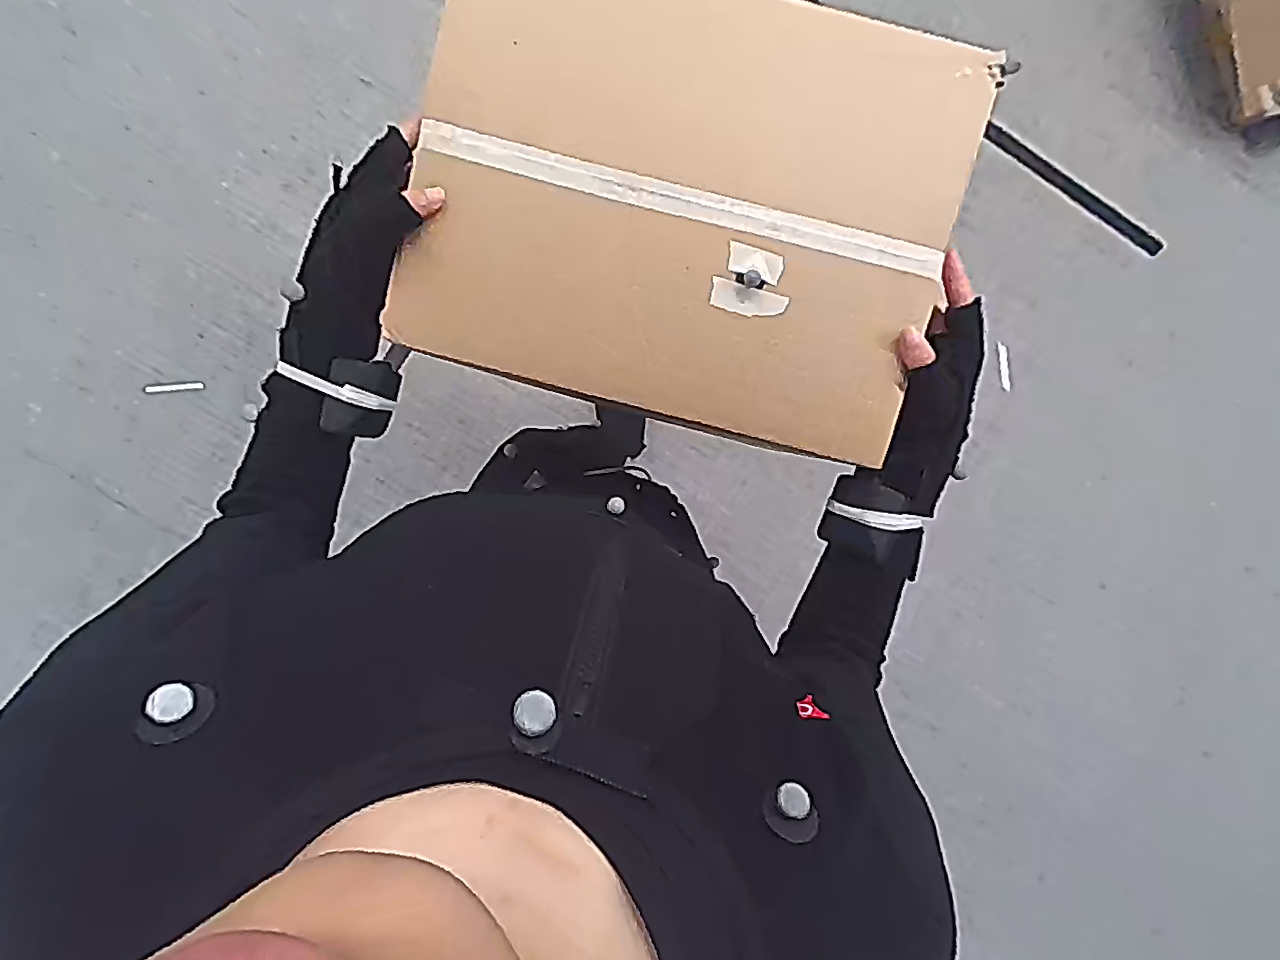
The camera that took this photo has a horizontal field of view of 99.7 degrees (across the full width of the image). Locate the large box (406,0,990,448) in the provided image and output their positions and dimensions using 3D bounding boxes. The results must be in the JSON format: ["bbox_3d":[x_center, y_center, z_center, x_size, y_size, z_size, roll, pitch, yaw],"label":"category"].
[{"bbox_3d":[0.039,-0.235,0.570,0.408,0.320,0.320,15,97,-1],"label":"large box"}]
